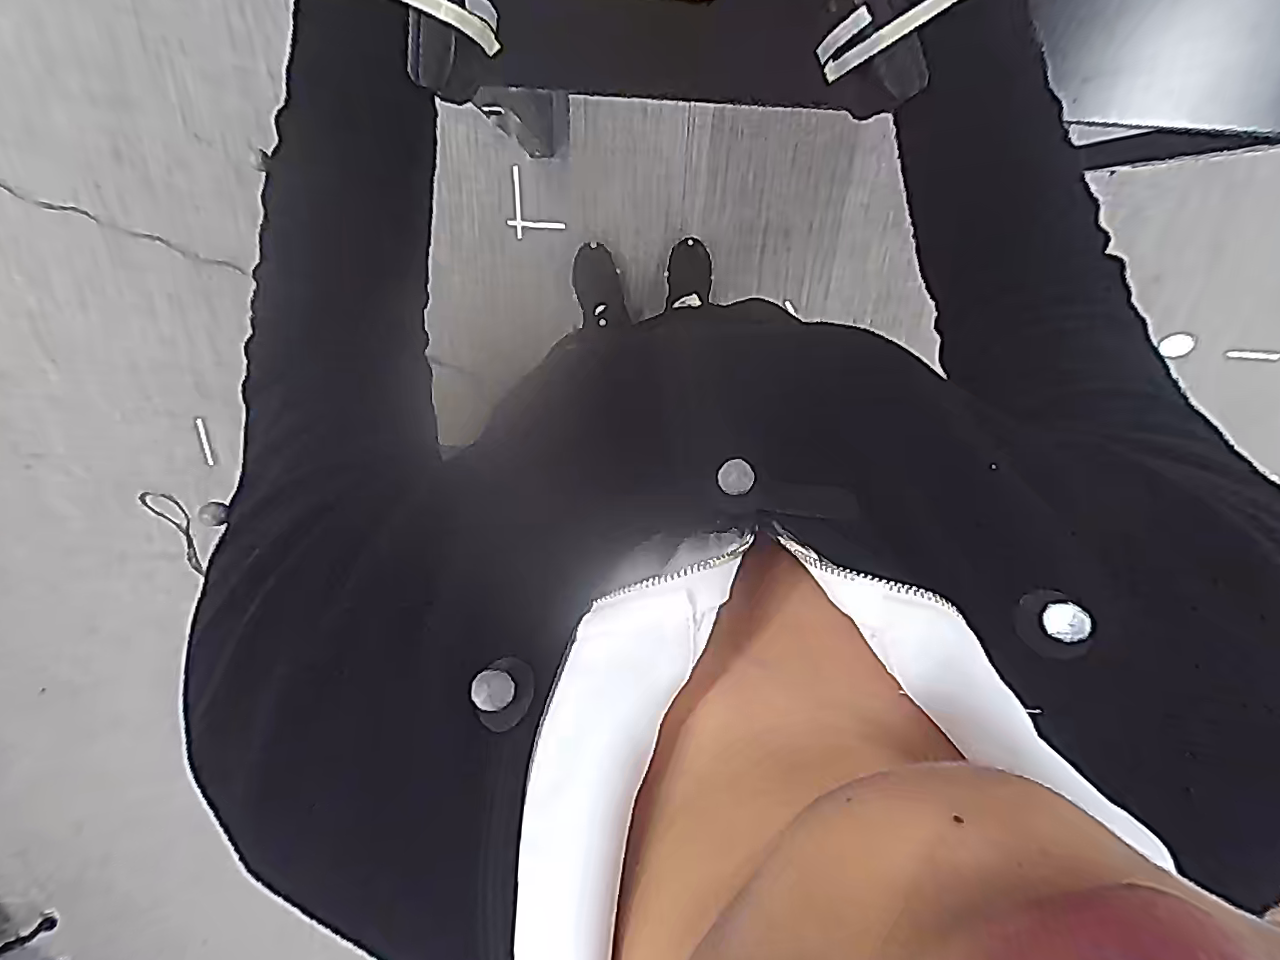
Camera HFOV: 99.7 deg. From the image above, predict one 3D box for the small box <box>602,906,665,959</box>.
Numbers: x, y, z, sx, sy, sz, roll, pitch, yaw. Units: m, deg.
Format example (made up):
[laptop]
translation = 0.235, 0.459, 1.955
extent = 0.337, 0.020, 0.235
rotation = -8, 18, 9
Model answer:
[small box]
translation = -0.016, 1.395, 1.590
extent = 0.179, 0.176, 0.168
rotation = -4, 112, 0
